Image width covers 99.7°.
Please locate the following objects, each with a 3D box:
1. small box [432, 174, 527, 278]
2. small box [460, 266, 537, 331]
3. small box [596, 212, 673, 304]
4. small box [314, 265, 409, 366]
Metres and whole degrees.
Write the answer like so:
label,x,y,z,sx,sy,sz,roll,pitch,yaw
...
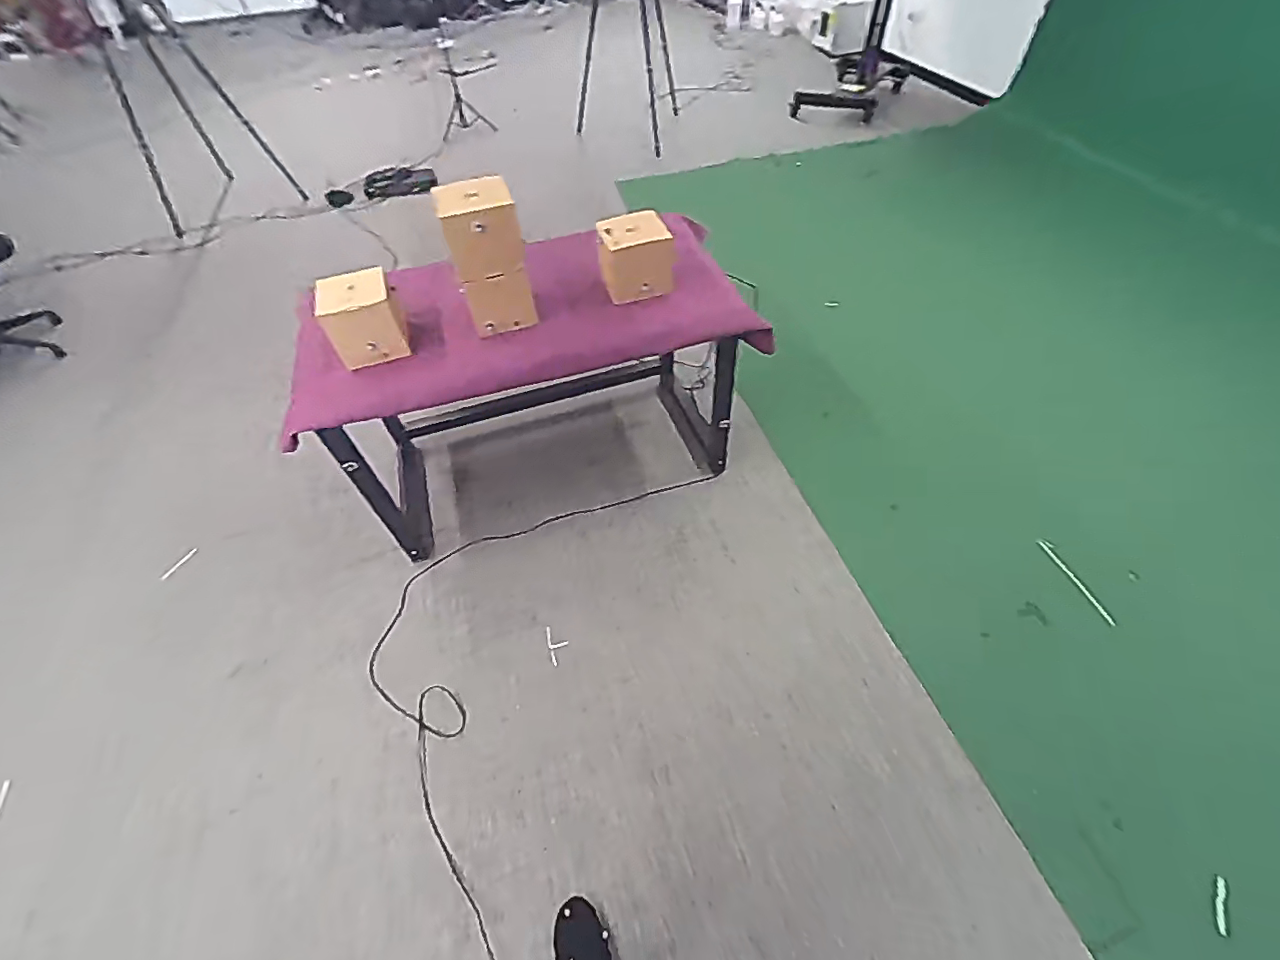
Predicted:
label,x,y,z,sx,sy,sz,roll,pitch,yaw
small box,-0.392,-0.619,1.330,0.179,0.176,0.168,-16,53,-11
small box,-0.387,-0.520,1.459,0.168,0.176,0.179,-16,52,-10
small box,-0.015,-0.624,1.523,0.179,0.176,0.168,-15,52,-9
small box,-0.713,-0.423,1.395,0.168,0.176,0.179,-17,53,-11
